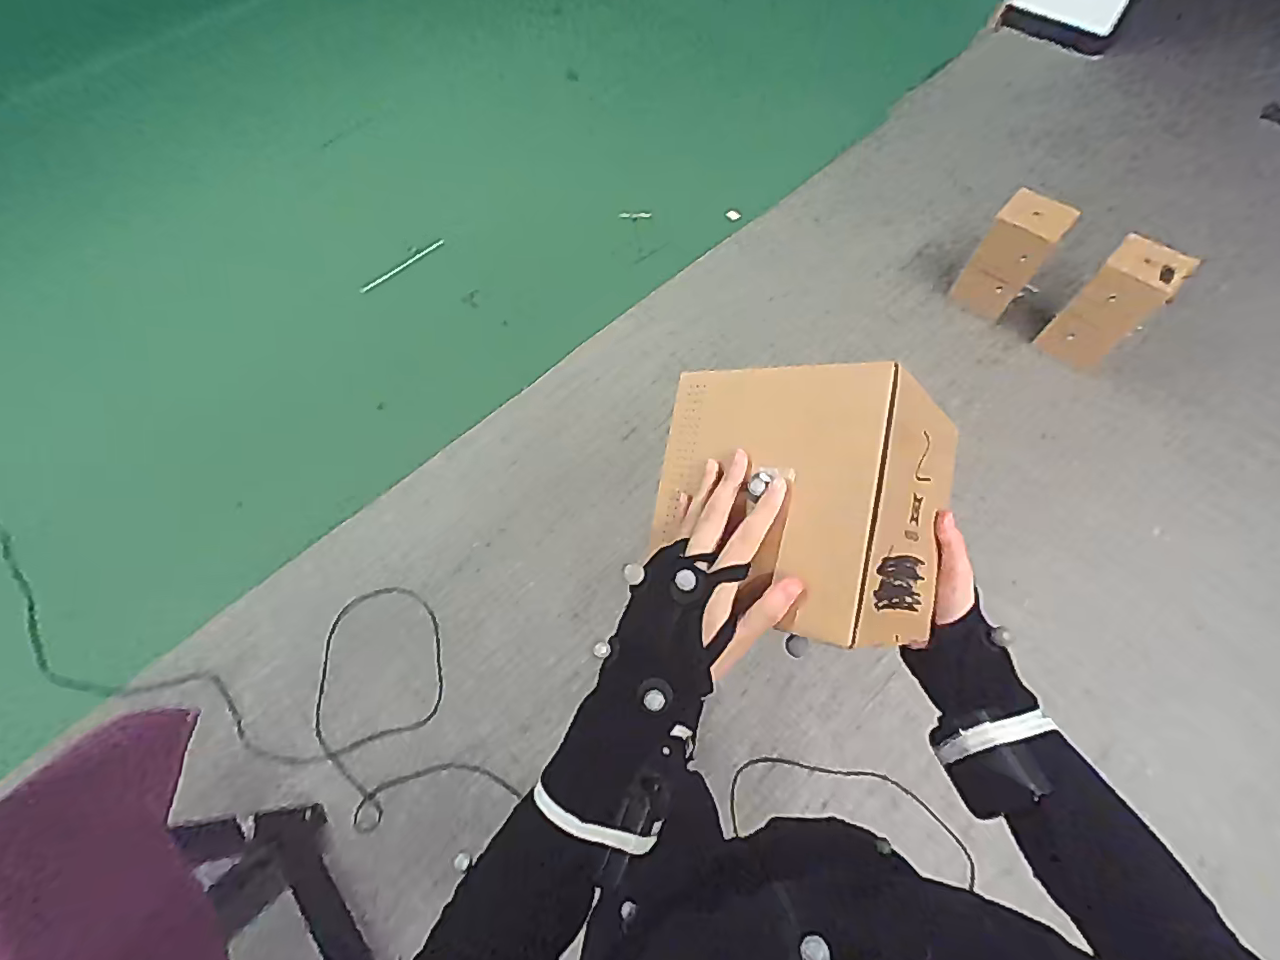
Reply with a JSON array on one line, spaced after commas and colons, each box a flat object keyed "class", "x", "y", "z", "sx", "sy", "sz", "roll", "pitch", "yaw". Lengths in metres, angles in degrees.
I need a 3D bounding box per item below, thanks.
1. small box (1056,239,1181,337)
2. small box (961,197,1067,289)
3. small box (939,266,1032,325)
[{"class": "small box", "x": 1.345, "y": -0.534, "z": 1.531, "sx": 0.179, "sy": 0.176, "sz": 0.168, "roll": 40, "pitch": 71, "yaw": 22}, {"class": "small box", "x": 1.124, "y": -0.710, "z": 1.638, "sx": 0.179, "sy": 0.176, "sz": 0.168, "roll": 38, "pitch": 71, "yaw": 22}, {"class": "small box", "x": 1.139, "y": -0.644, "z": 1.787, "sx": 0.179, "sy": 0.176, "sz": 0.168, "roll": 38, "pitch": 71, "yaw": 21}]
